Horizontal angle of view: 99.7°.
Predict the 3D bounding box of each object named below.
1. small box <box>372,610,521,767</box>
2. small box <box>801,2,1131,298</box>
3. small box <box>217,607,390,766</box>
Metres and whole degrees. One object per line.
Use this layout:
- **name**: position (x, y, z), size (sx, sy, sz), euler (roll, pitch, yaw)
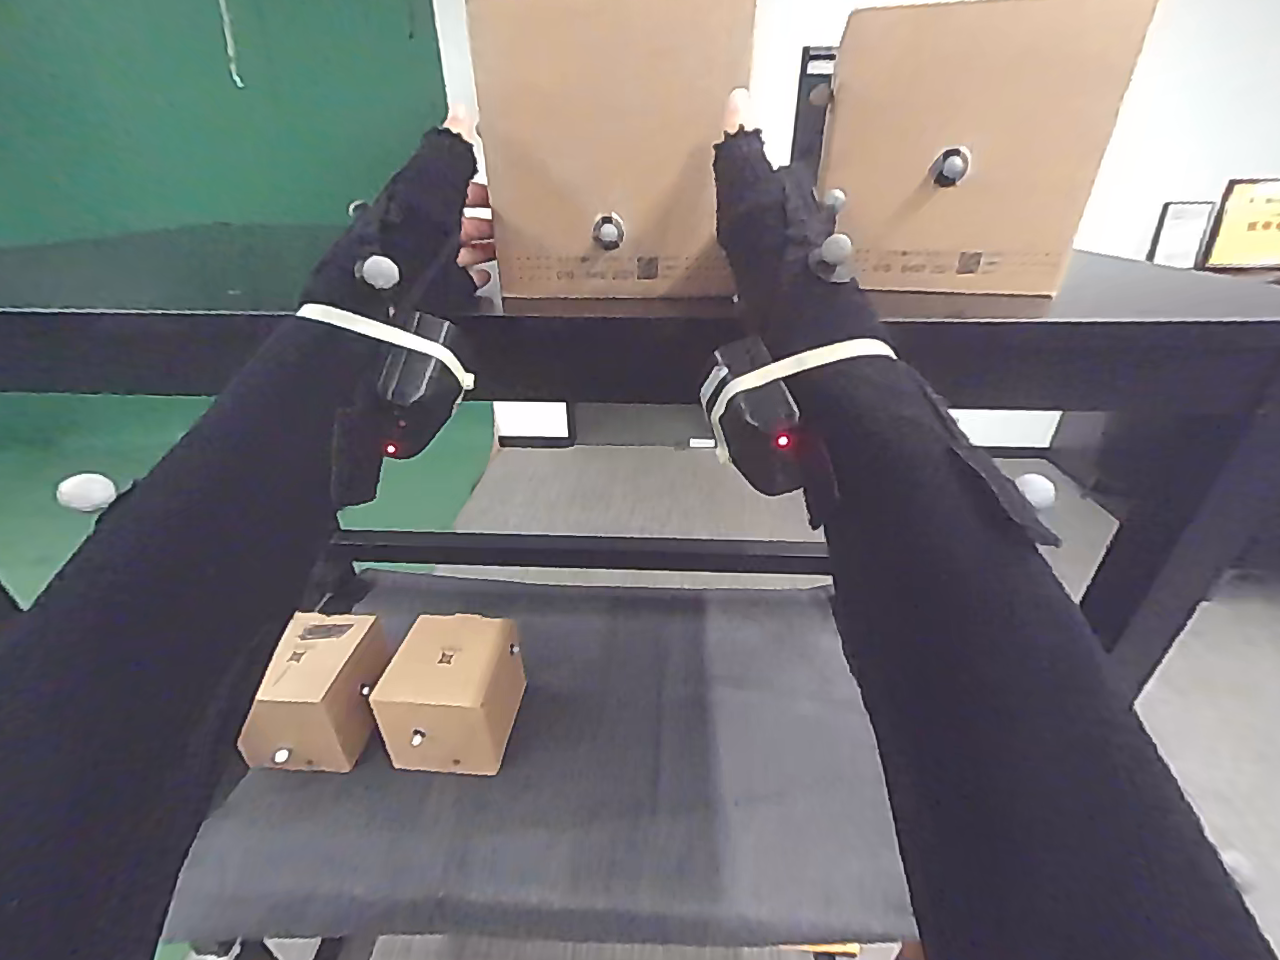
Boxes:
- **small box**: position (-0.300, 0.338, 0.883), size (0.168, 0.176, 0.179), euler (2, 29, 3)
- **small box**: position (0.228, -0.249, 0.437), size (0.168, 0.176, 0.179), euler (7, 30, 12)
- **small box**: position (-0.527, 0.333, 0.885), size (0.168, 0.176, 0.179), euler (2, 30, 2)
